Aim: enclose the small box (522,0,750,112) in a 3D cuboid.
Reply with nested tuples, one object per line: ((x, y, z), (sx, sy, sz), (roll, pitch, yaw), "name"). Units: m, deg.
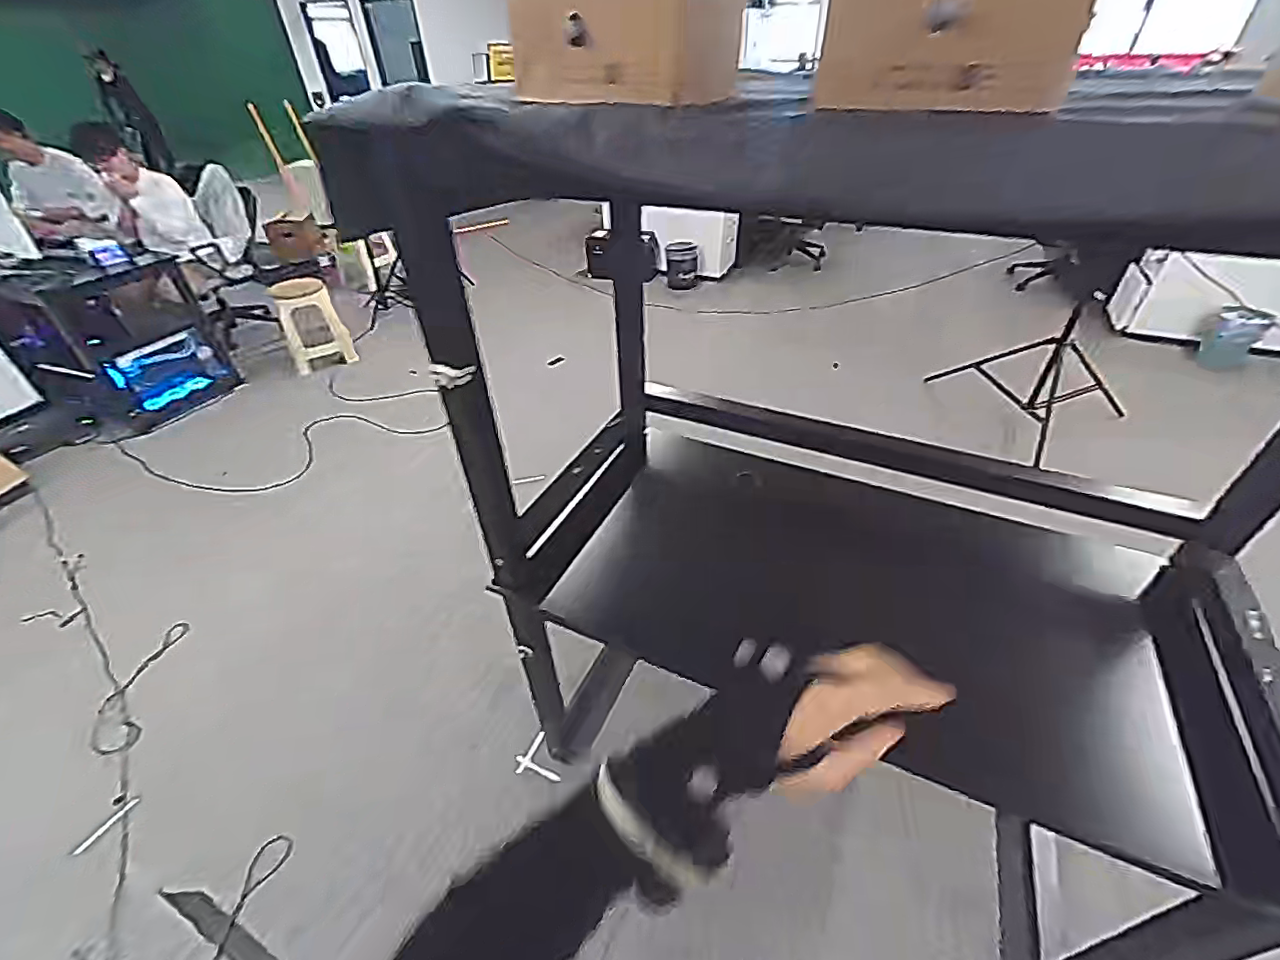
((0.000, -0.447, 0.492), (0.168, 0.176, 0.179), (16, 41, 20), "small box")

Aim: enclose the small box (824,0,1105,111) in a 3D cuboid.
((0.245, -0.378, 0.394), (0.168, 0.176, 0.179), (17, 41, 22), "small box")
